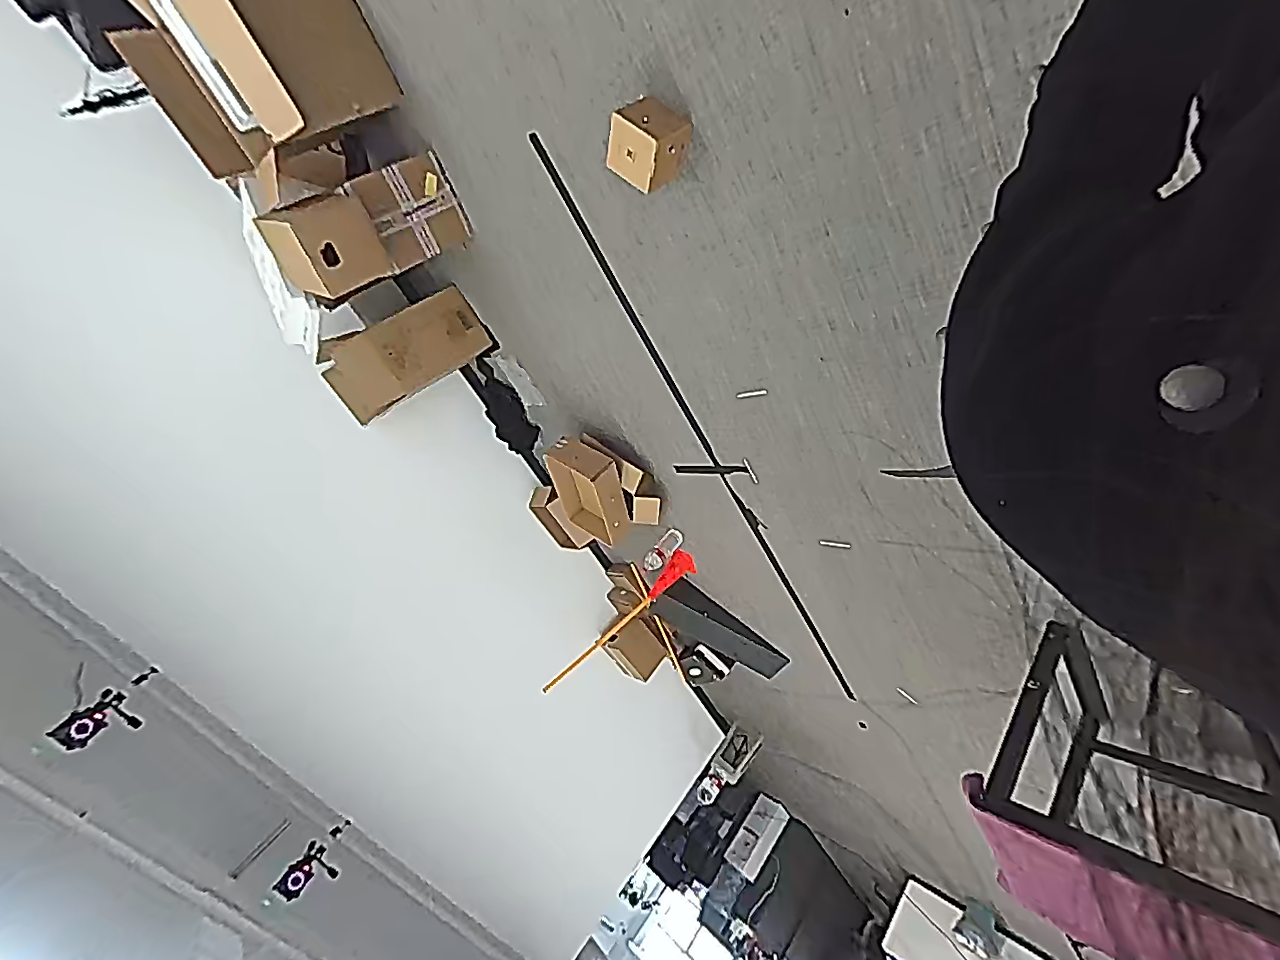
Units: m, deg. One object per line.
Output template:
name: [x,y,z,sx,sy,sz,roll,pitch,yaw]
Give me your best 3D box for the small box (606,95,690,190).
small box: [0.025,-1.024,1.633,0.179,0.176,0.168,41,152,12]
